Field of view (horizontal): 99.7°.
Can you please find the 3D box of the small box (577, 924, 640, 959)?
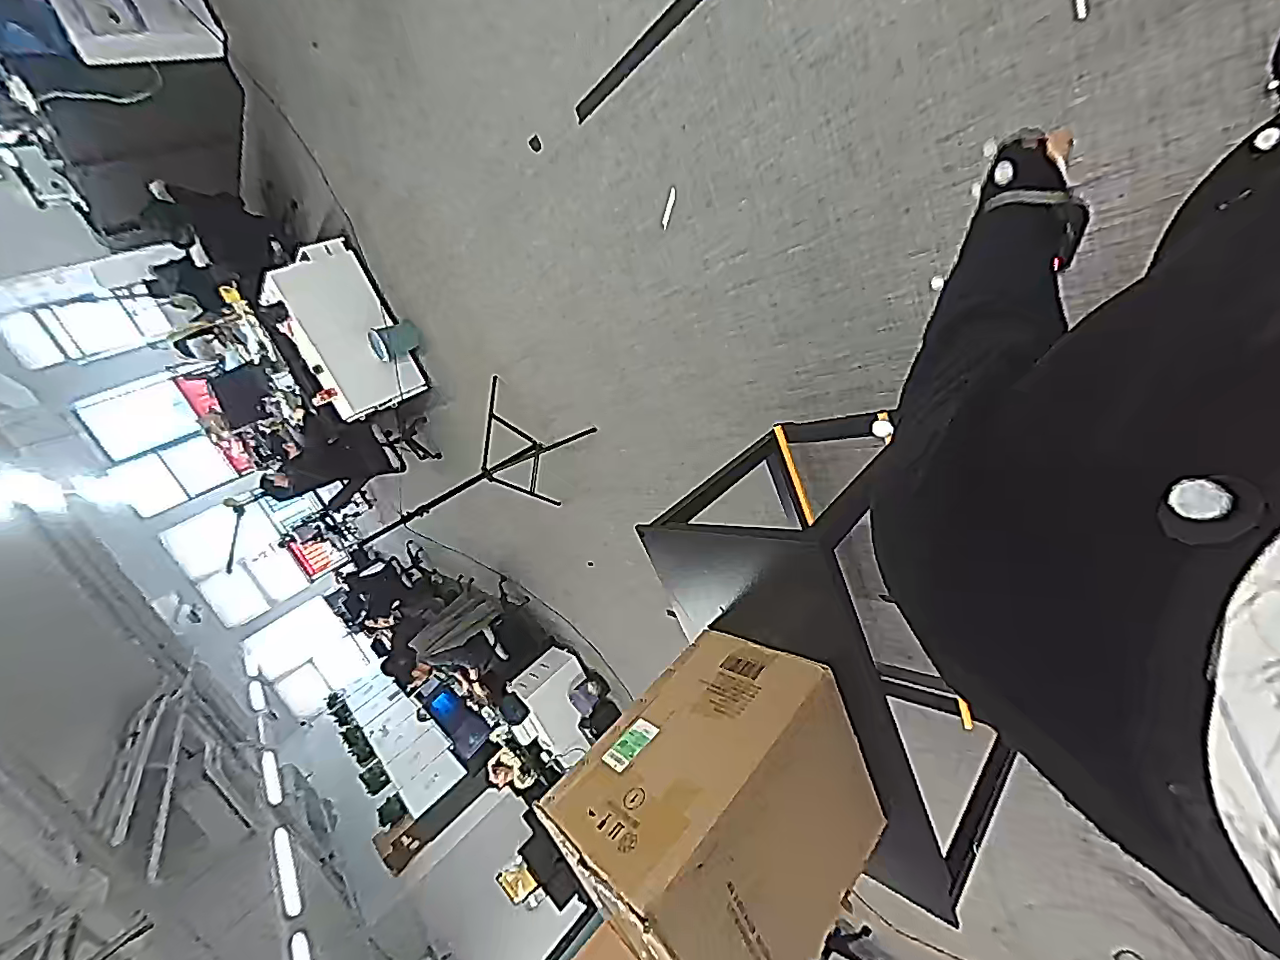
[{"bbox_3d":[-0.057,1.148,1.193,0.179,0.176,0.168,-6,114,56],"label":"small box"}]
